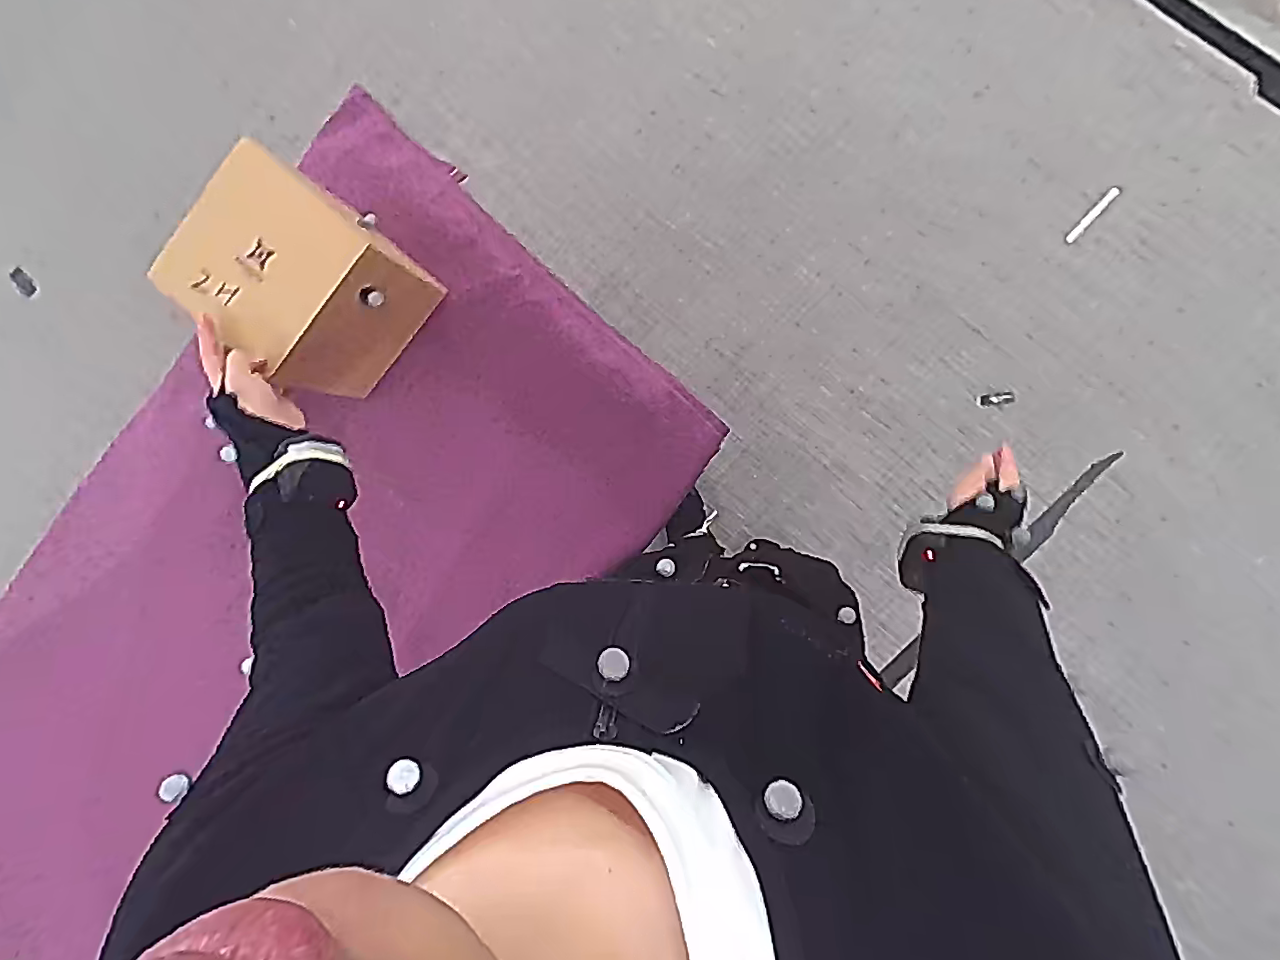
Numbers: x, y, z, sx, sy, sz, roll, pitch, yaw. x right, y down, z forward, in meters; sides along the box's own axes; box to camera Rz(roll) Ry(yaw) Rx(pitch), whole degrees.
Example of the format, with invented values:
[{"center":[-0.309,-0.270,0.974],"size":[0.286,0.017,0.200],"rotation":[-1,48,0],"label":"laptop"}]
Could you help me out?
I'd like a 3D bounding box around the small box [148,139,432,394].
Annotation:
[{"center":[-0.363,-0.216,0.602],"size":[0.168,0.176,0.179],"rotation":[41,96,2],"label":"small box"}]
